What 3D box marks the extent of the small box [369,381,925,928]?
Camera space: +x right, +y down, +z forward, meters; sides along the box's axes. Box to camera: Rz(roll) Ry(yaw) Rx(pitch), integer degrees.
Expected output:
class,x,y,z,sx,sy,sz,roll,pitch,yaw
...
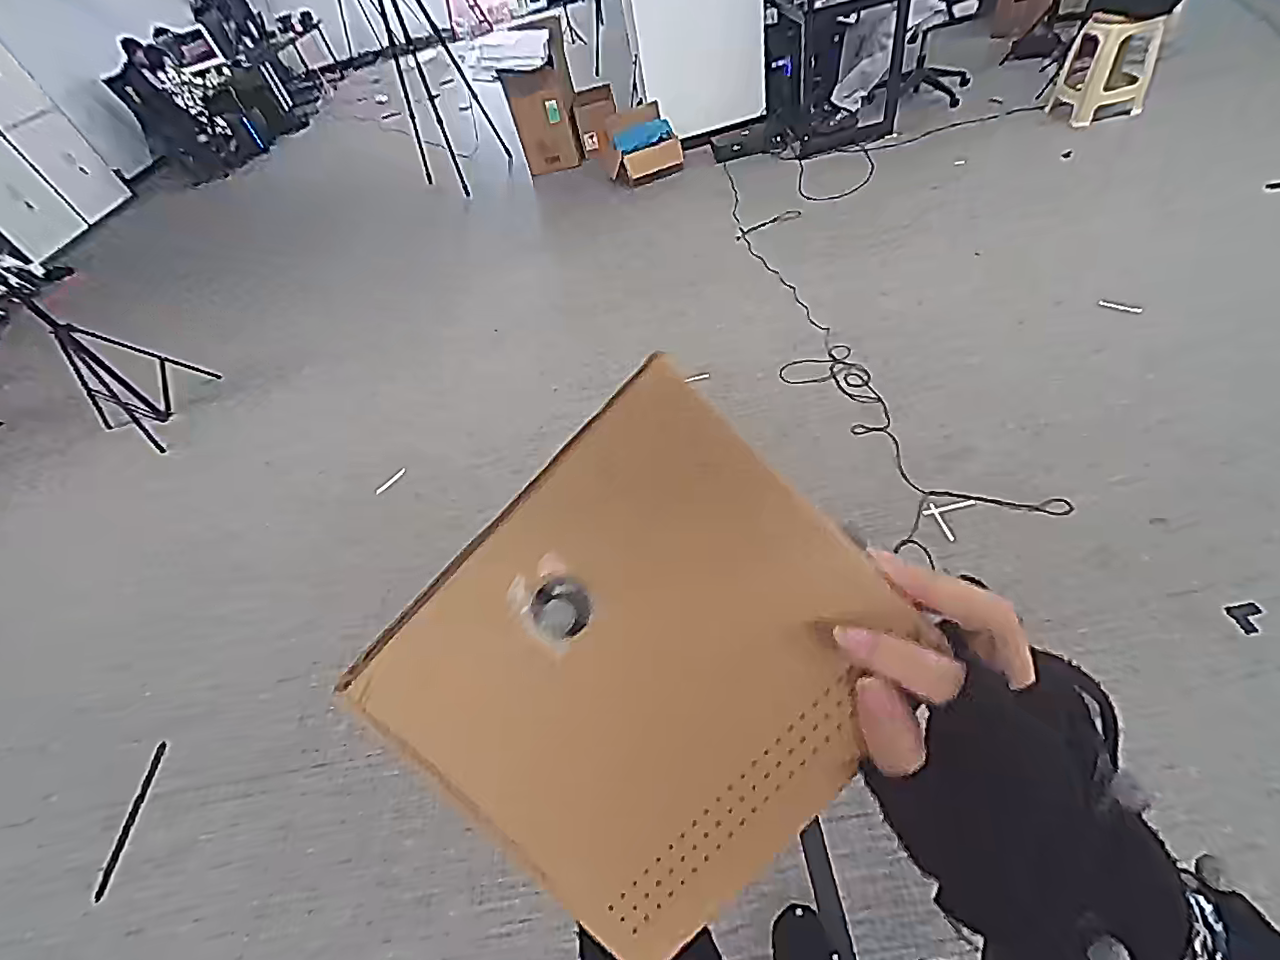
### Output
class,x,y,z,sx,sy,sz,roll,pitch,yaw
small box,0.006,0.076,0.297,0.176,0.168,0.179,45,90,-3
